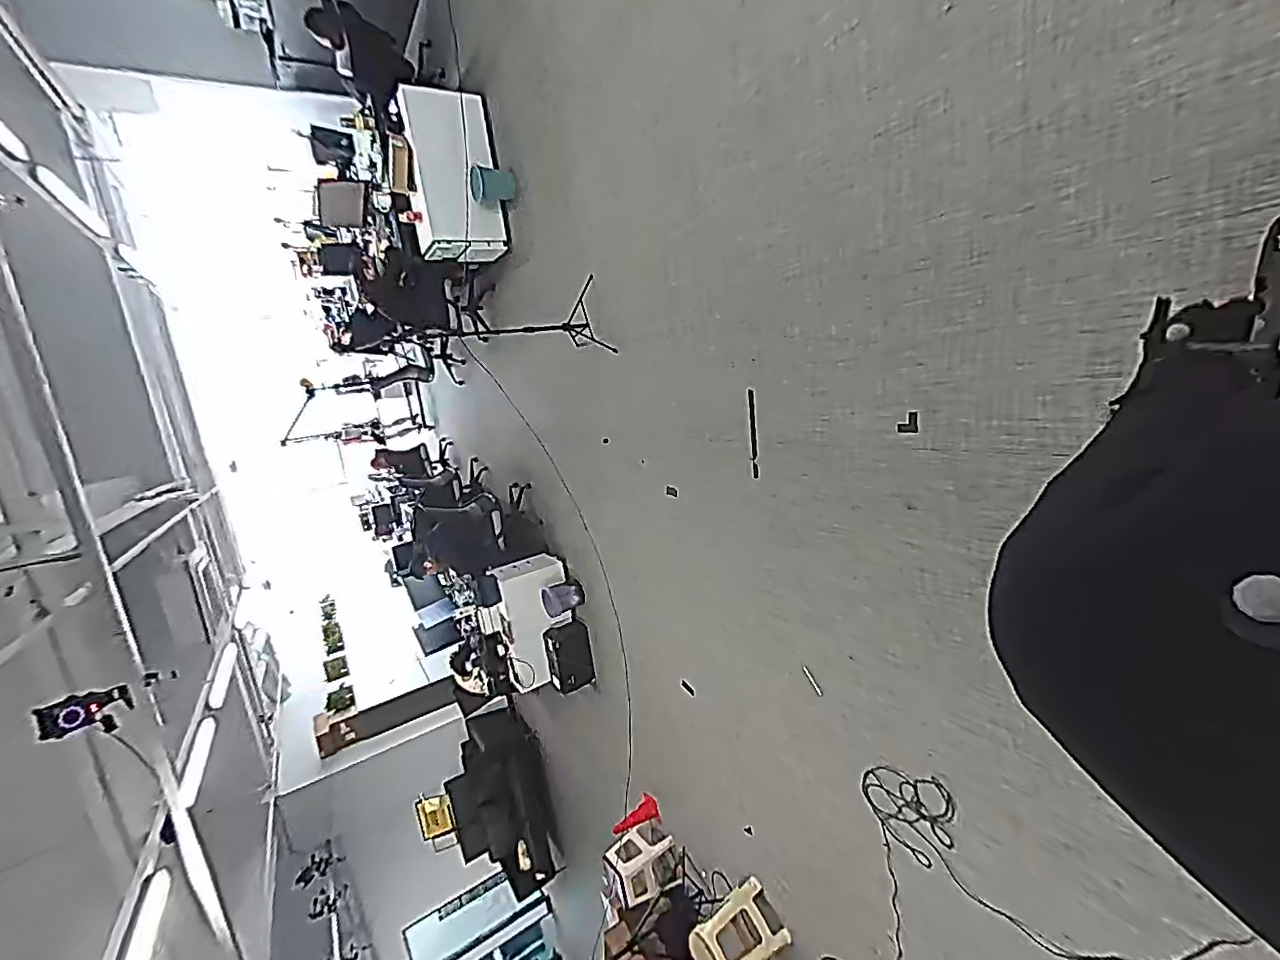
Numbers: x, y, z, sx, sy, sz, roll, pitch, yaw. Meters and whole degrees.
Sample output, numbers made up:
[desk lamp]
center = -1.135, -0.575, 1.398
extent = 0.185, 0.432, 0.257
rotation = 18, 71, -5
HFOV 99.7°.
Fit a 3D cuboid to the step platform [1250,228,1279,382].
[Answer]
[step platform]
center = 1.359, -0.302, 0.748
extent = 0.684, 0.204, 0.286
rotation = 9, 111, 57
